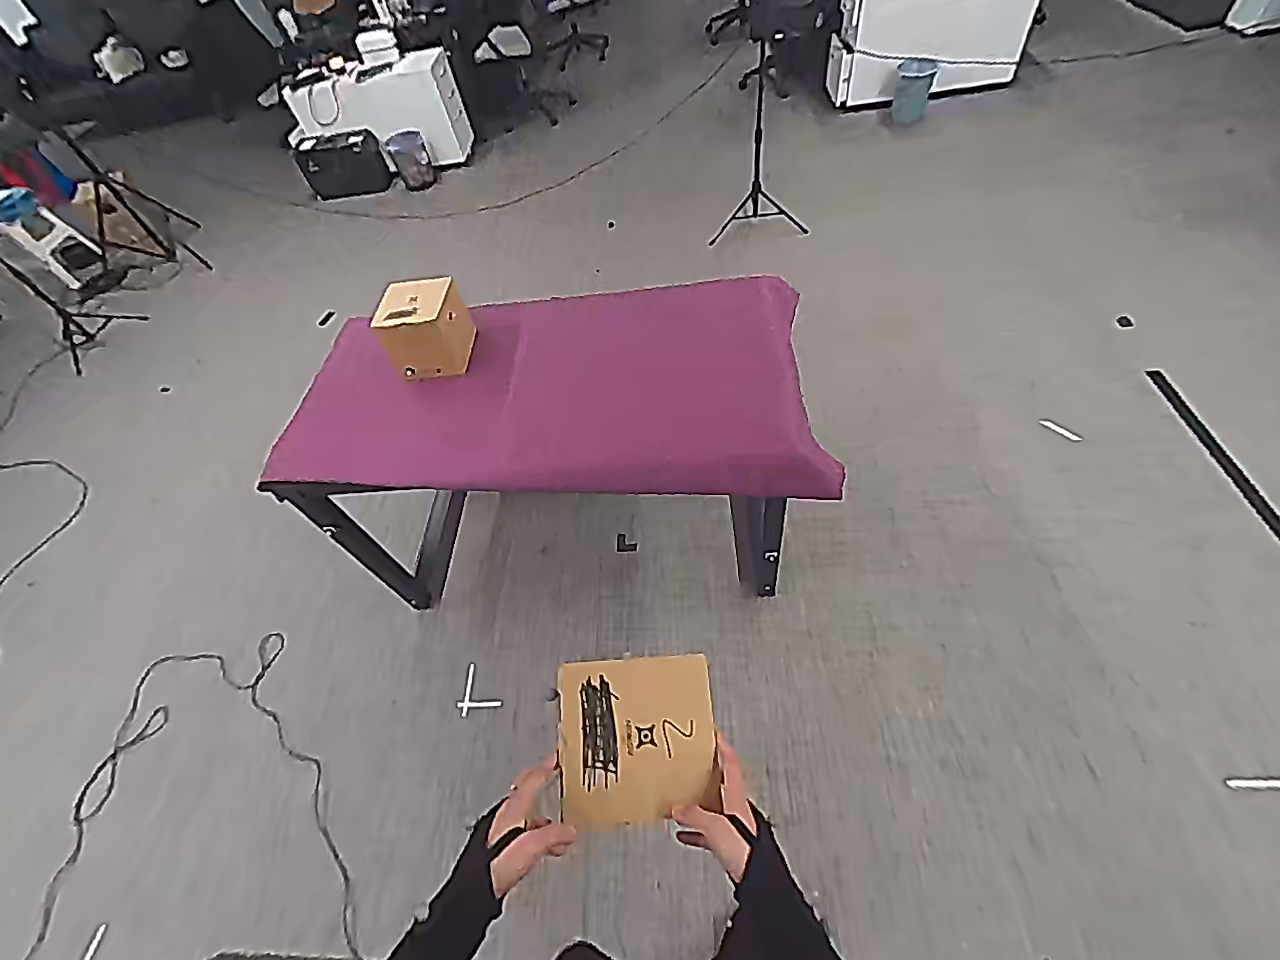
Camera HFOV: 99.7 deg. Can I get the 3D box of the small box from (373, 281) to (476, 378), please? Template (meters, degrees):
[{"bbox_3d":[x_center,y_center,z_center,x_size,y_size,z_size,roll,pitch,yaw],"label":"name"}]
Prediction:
[{"bbox_3d":[-0.533,-0.372,1.364,0.168,0.176,0.179,-4,53,6],"label":"small box"}]
